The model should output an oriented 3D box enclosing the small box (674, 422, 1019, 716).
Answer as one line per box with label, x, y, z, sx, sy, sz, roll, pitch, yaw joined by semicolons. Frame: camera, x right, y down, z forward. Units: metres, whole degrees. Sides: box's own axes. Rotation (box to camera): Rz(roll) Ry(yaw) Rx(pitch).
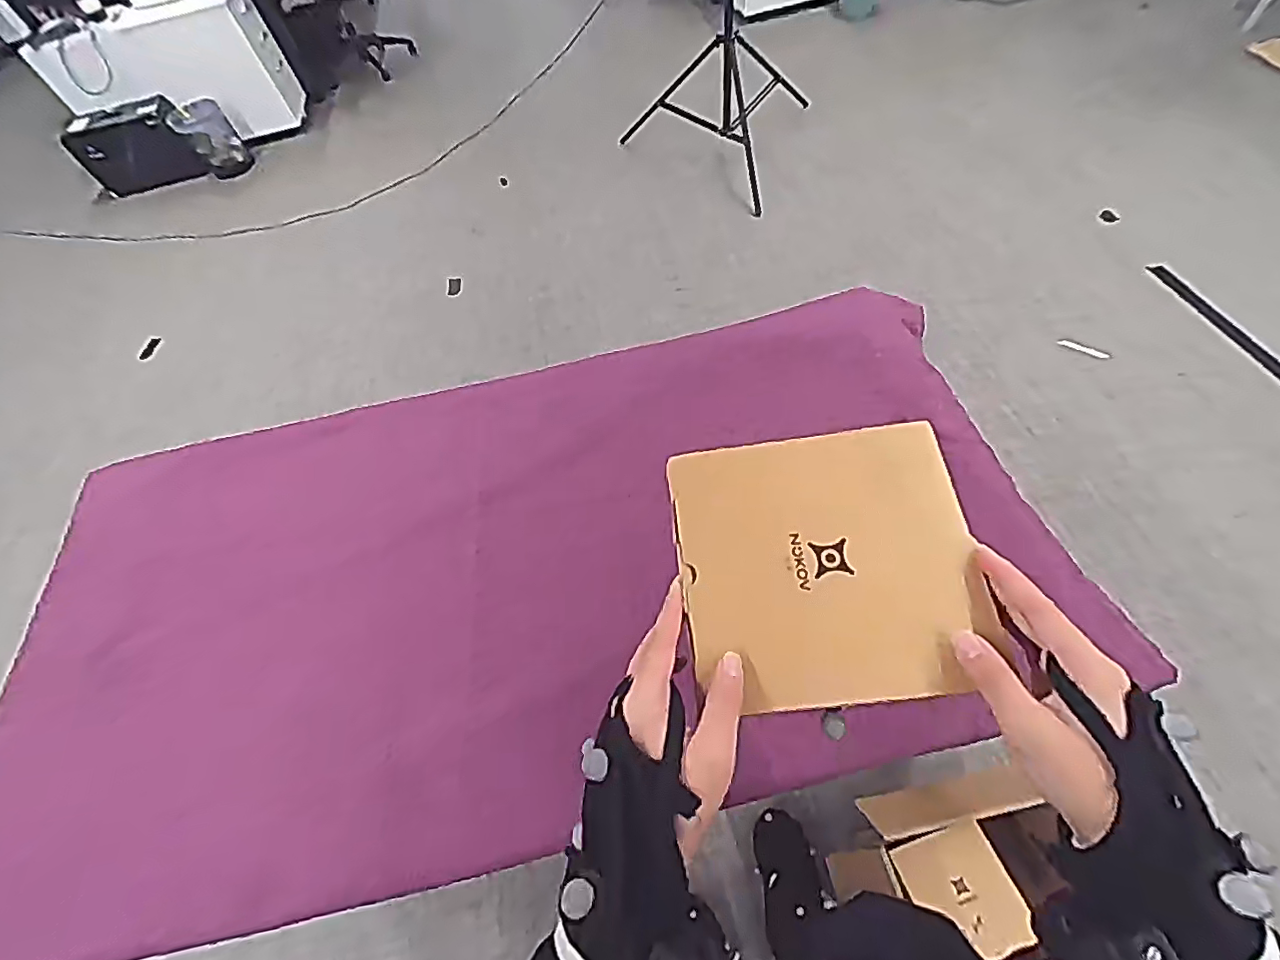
small box;0.124;0.077;0.402;0.179;0.176;0.168;-8;66;6
